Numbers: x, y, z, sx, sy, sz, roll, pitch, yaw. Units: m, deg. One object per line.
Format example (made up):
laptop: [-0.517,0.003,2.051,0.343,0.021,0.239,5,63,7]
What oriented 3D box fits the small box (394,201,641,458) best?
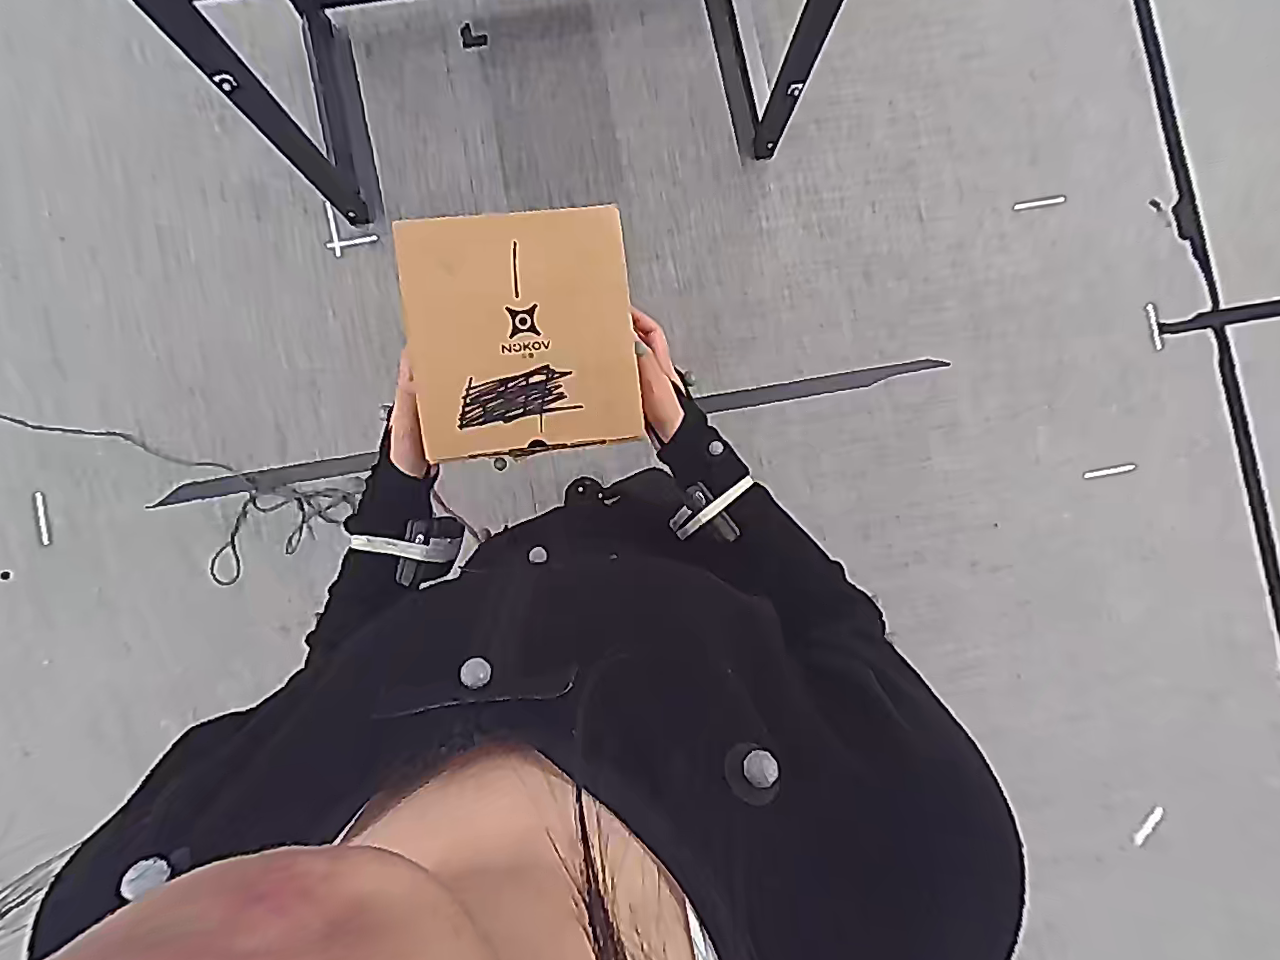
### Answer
small box: [-0.093,-0.116,0.475,0.168,0.176,0.179,-7,93,-6]
